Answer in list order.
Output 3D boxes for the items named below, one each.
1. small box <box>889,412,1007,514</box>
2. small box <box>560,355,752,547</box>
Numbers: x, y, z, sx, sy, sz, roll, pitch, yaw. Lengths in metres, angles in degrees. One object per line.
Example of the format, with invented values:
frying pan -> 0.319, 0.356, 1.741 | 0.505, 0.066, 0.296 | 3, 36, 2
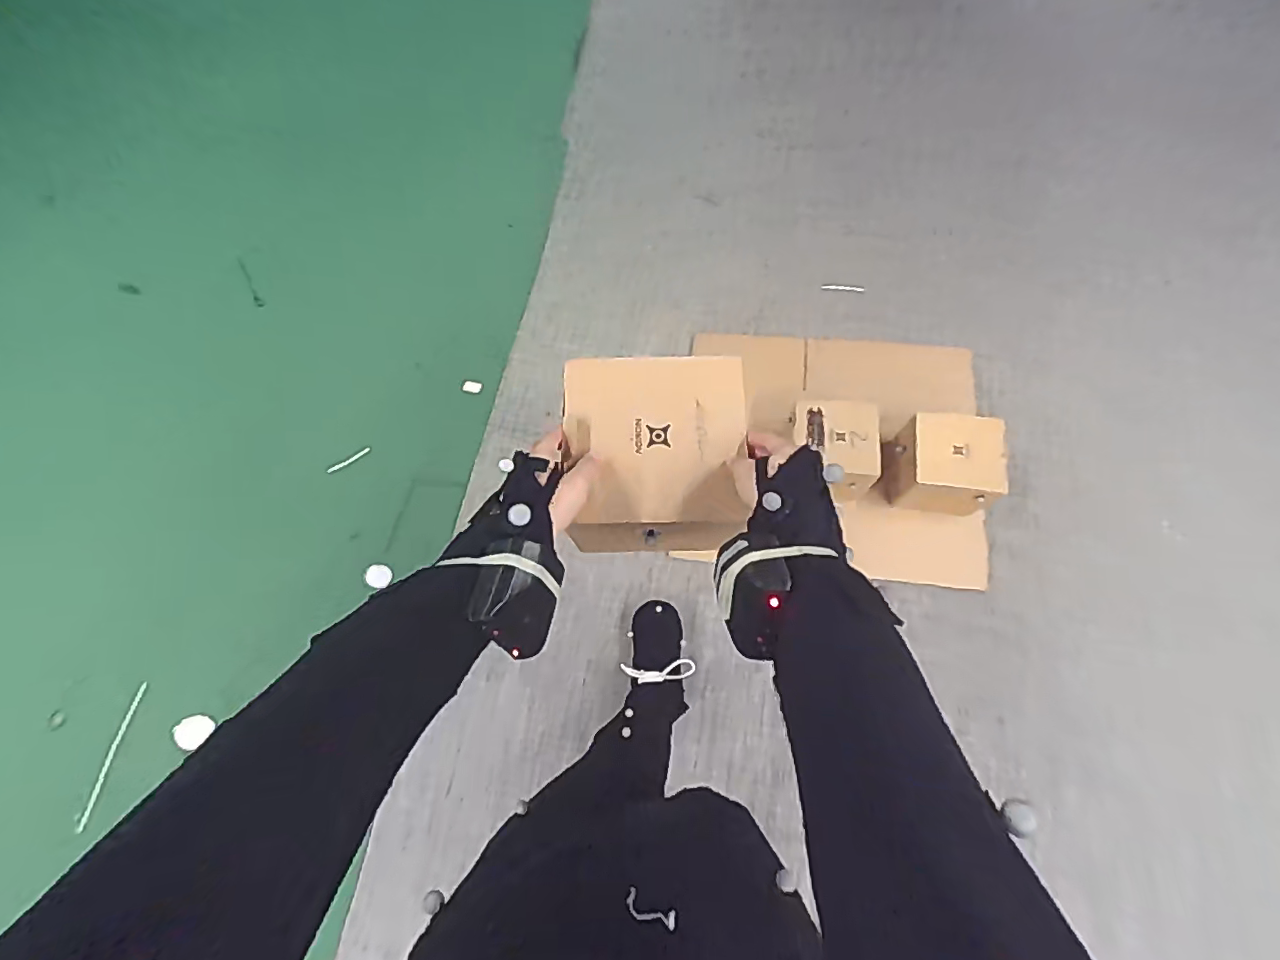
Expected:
small box -> 0.657, -0.032, 1.175 | 0.179, 0.176, 0.168 | 7, 71, 8
small box -> 0.015, -0.020, 0.584 | 0.179, 0.176, 0.168 | -1, 74, 0
